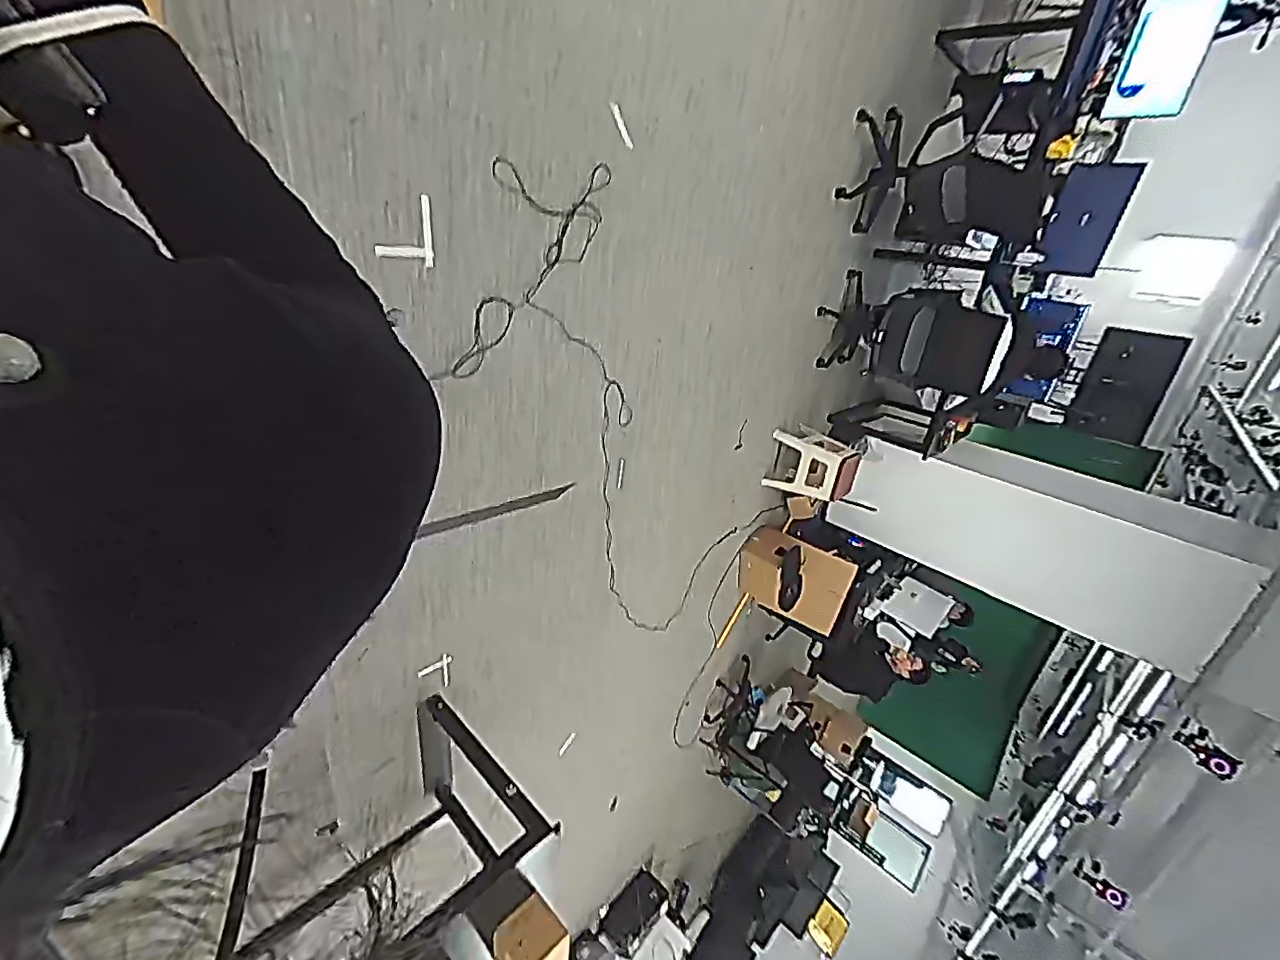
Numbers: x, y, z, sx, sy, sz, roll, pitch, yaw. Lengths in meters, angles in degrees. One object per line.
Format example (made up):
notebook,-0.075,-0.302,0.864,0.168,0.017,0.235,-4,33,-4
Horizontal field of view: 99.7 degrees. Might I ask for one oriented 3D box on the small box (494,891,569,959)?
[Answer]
small box,-0.338,1.433,1.677,0.168,0.176,0.179,-20,127,-42
